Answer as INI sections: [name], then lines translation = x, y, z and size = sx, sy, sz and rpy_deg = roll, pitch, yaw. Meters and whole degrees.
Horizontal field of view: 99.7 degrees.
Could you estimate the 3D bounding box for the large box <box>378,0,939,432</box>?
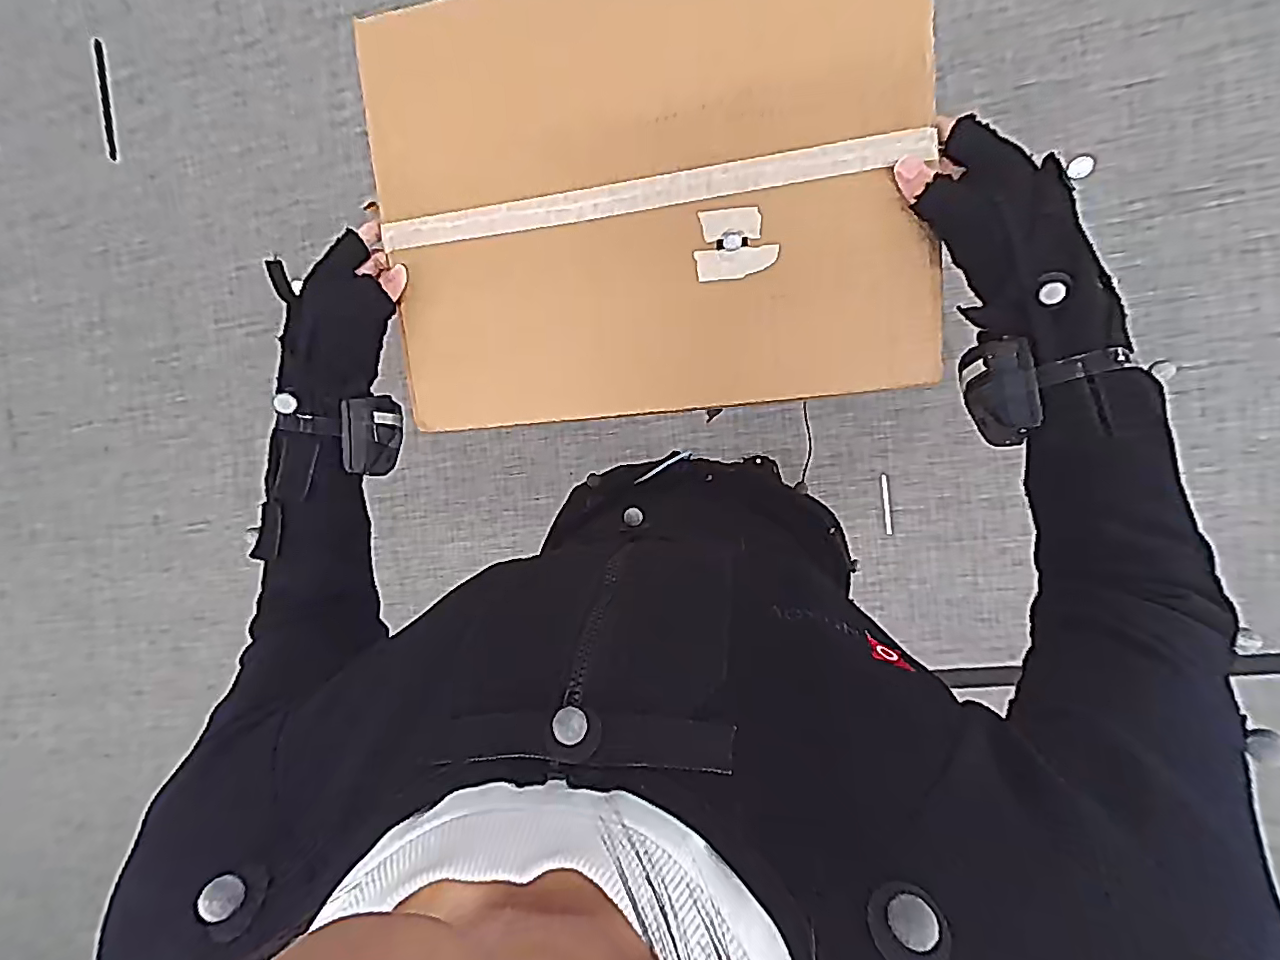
[large box]
translation = 0.026, -0.231, 0.551
size = 0.408, 0.320, 0.320
rpy_deg = -5, 98, 9
